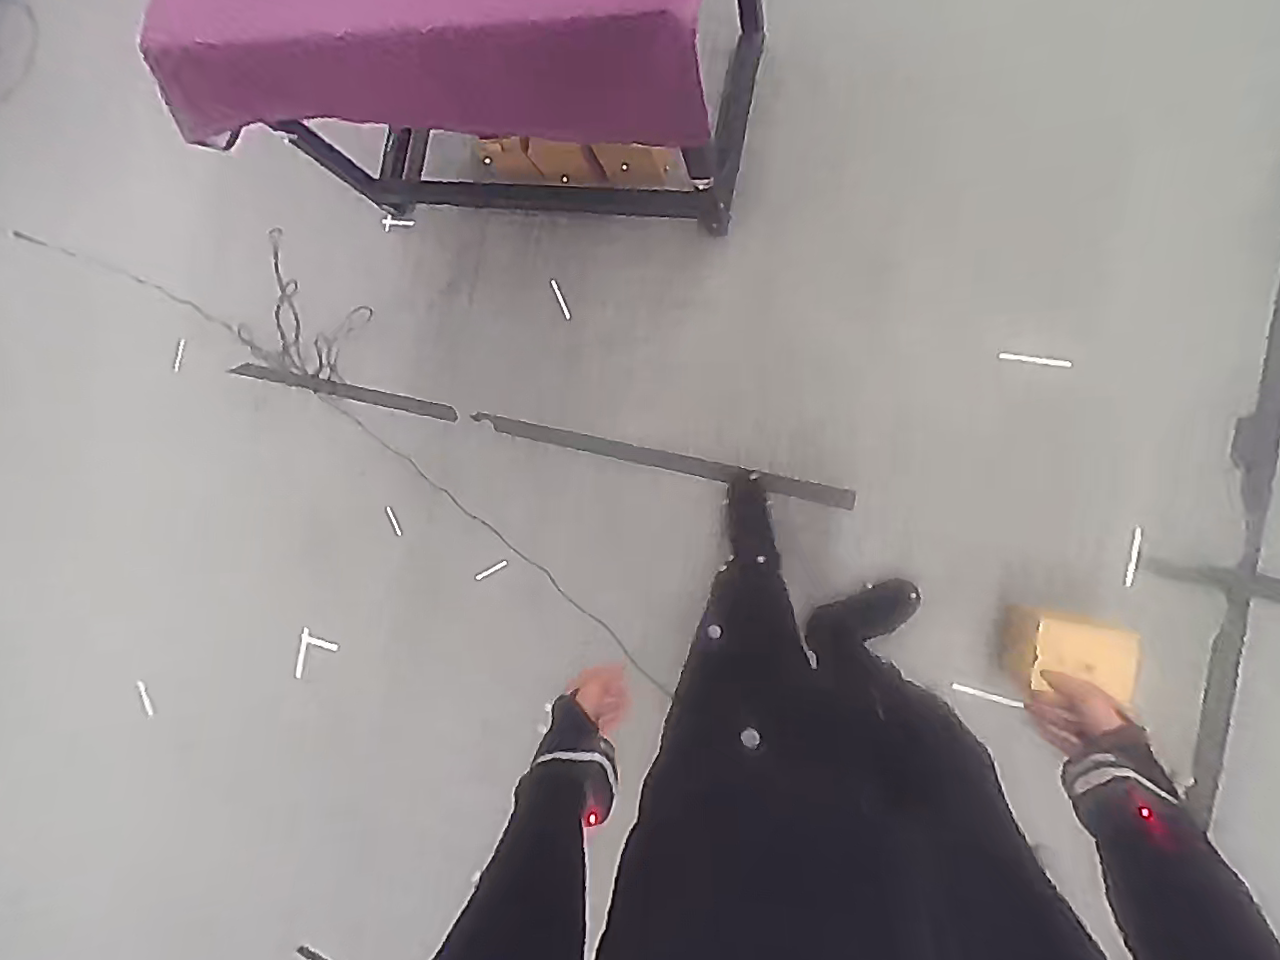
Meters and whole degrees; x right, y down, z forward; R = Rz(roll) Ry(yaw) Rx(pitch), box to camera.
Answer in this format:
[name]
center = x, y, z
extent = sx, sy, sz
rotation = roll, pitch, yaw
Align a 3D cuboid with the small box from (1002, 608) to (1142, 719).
[small box]
center = 0.913, 0.382, 1.159
extent = 0.179, 0.176, 0.168
rotation = 8, 89, 18
